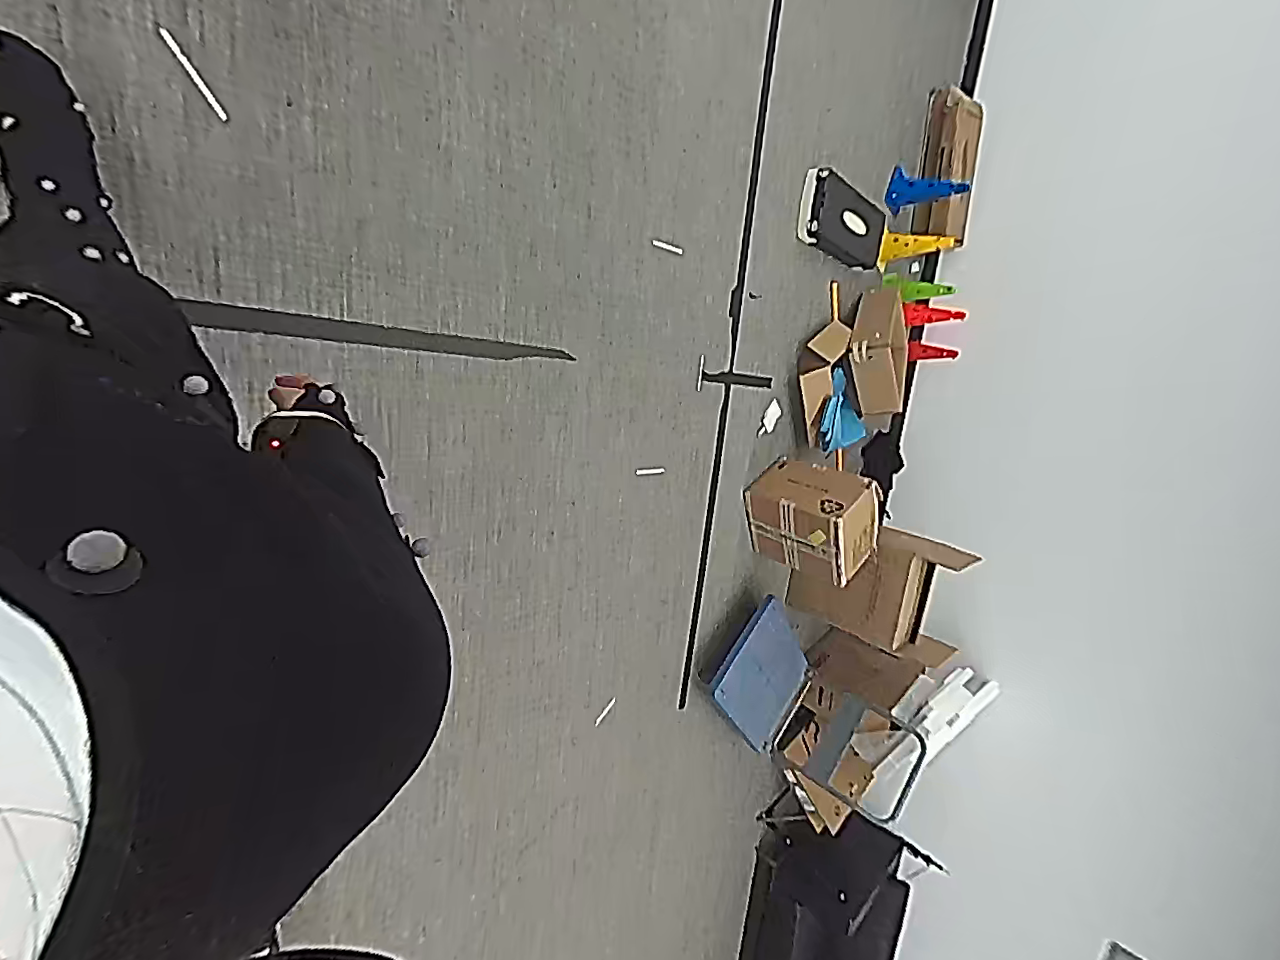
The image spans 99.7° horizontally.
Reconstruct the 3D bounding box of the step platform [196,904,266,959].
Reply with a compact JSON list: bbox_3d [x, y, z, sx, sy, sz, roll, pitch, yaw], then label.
[{"bbox_3d":[-1.166,1.227,1.097,0.684,0.204,0.286,-6,108,-46],"label":"step platform"}]
